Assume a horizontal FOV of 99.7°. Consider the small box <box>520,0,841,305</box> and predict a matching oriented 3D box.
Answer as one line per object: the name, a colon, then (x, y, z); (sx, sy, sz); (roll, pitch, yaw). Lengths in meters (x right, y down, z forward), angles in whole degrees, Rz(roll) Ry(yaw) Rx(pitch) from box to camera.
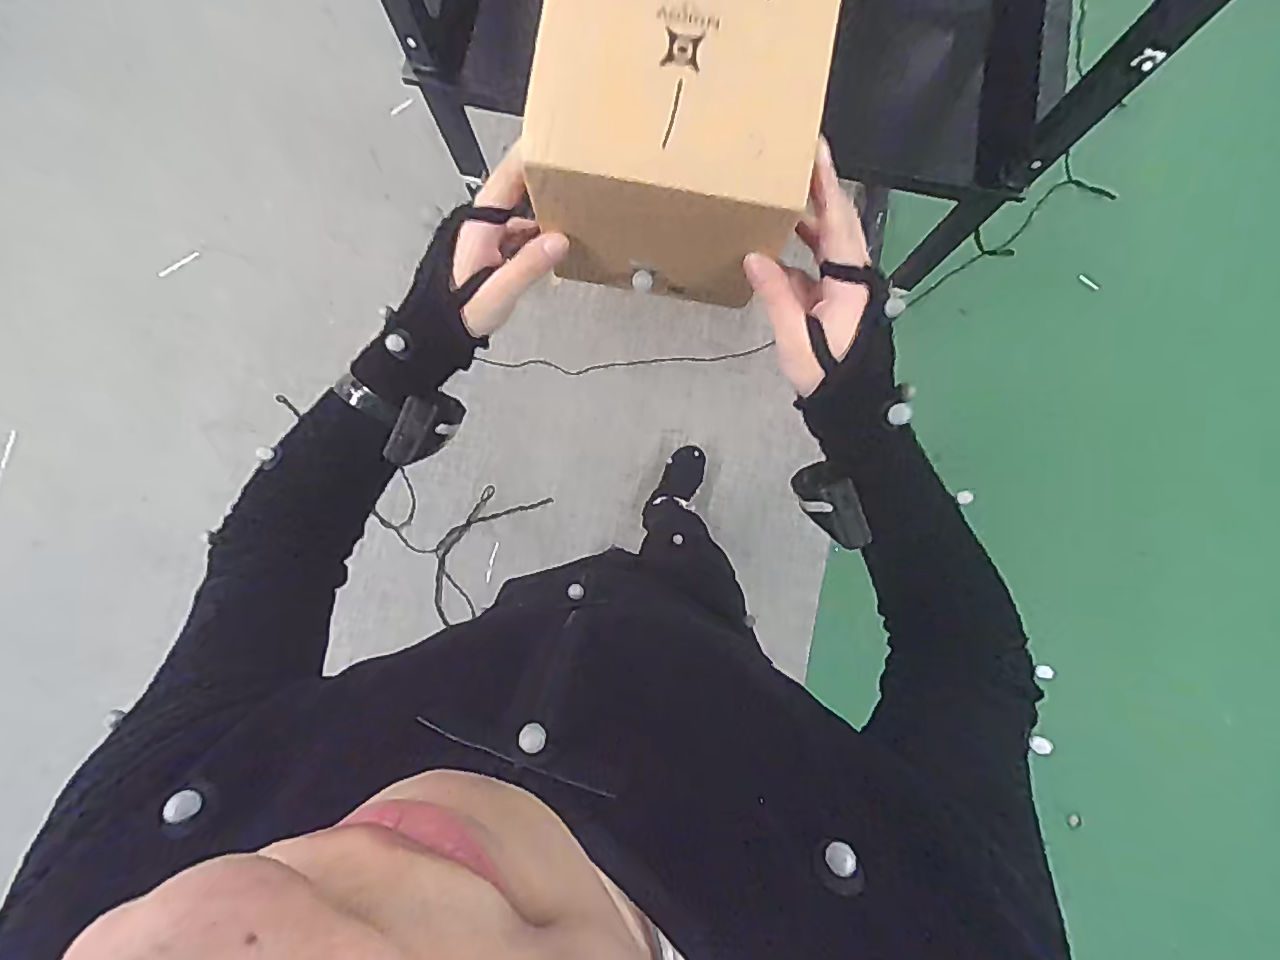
small box: (0.025, -0.248, 0.382); (0.168, 0.176, 0.179); (10, 89, -1)
